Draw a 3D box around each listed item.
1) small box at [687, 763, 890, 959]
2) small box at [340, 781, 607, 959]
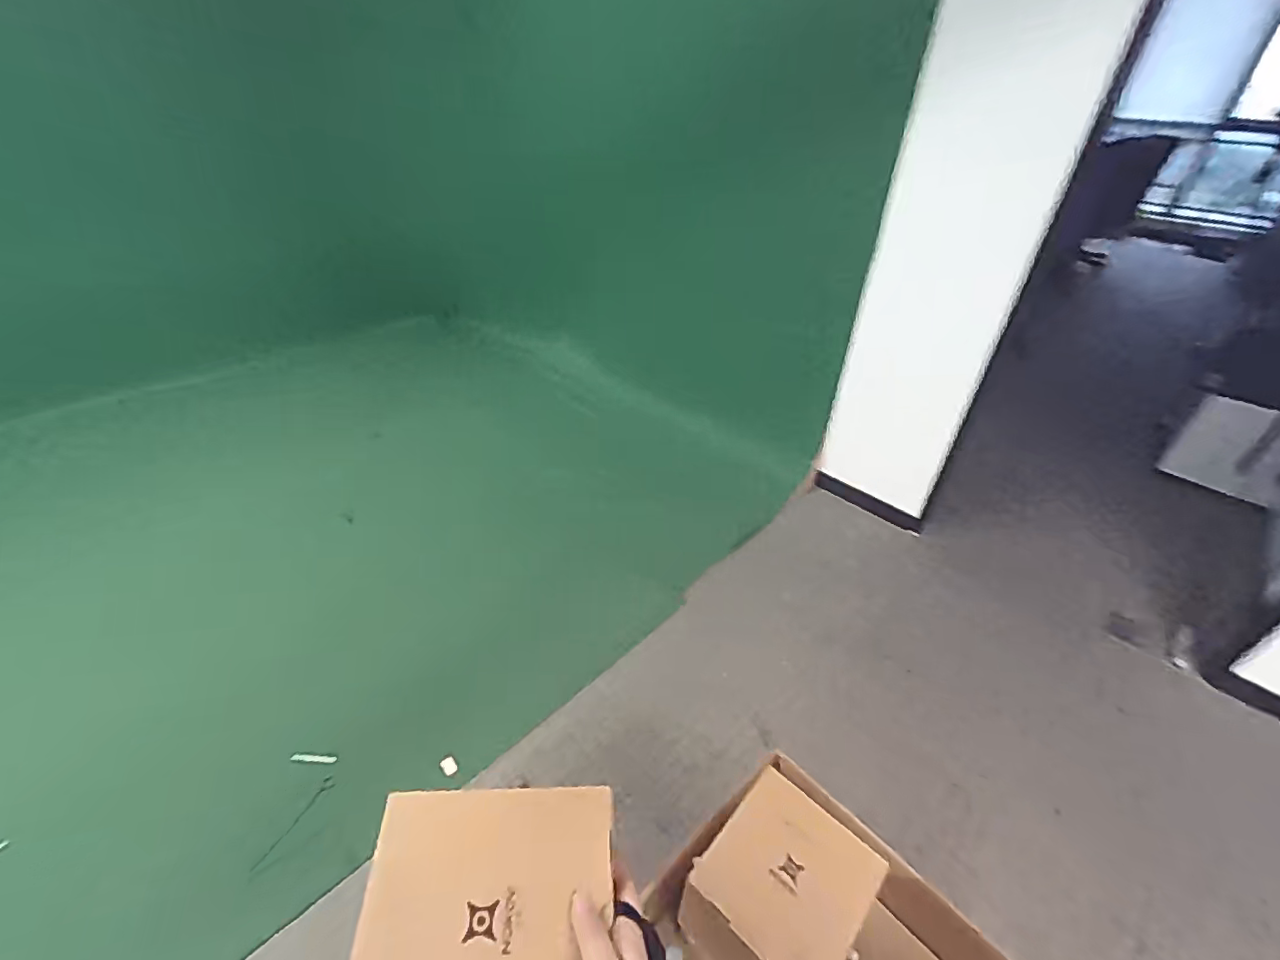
[{"bbox_3d":[0.172,0.504,0.665,0.168,0.176,0.179,32,48,32],"label":"small box"},{"bbox_3d":[-0.115,0.355,0.427,0.179,0.176,0.168,0,47,-6],"label":"small box"}]
